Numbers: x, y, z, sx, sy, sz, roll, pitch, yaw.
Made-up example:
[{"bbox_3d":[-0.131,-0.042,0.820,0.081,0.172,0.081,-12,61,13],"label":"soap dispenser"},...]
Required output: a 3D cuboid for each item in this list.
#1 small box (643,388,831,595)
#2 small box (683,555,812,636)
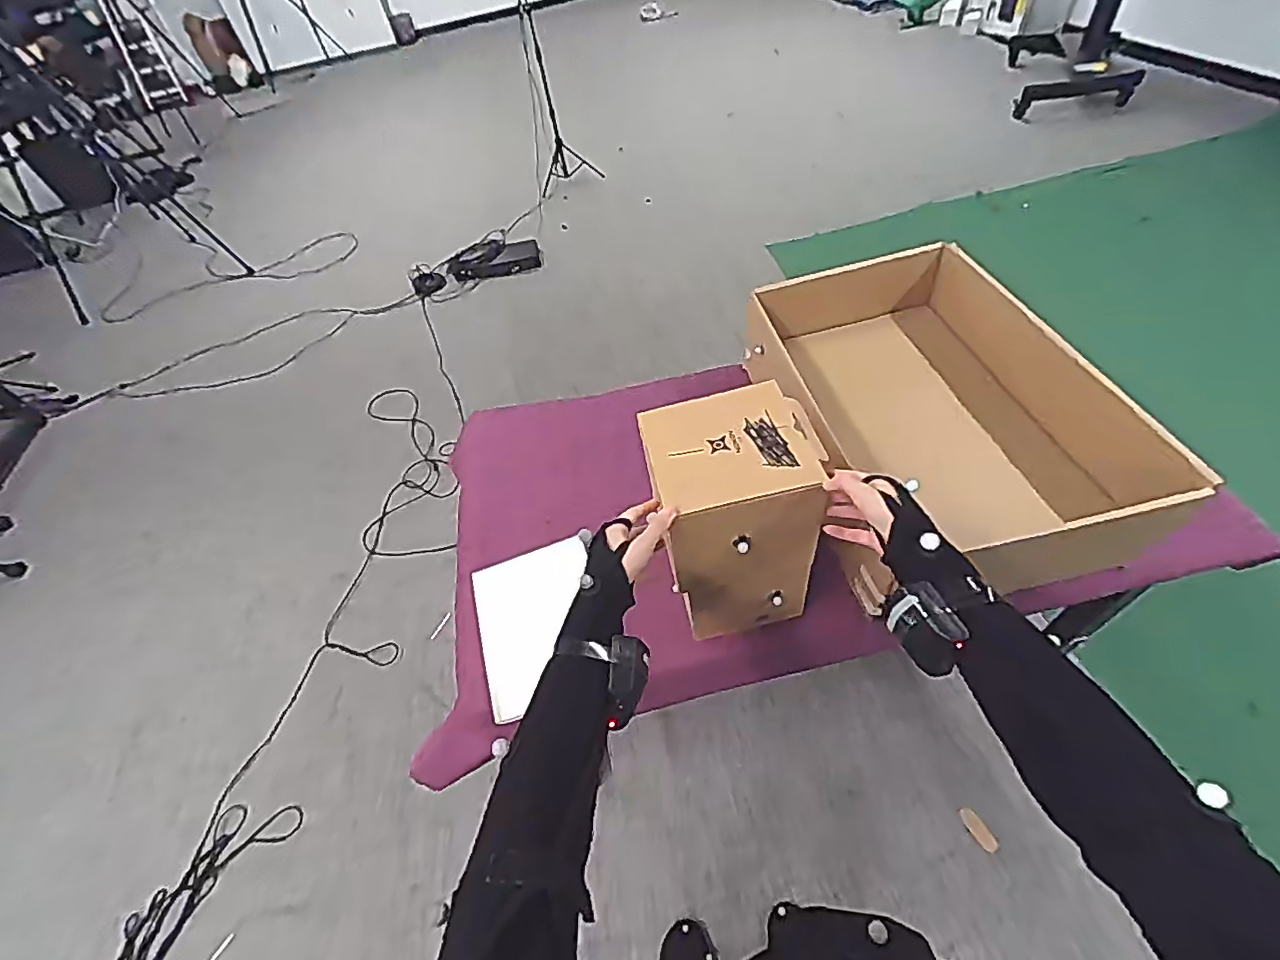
[{"bbox_3d":[0.110,0.018,0.664,0.179,0.176,0.168,-13,49,0],"label":"small box"},{"bbox_3d":[0.138,0.112,0.795,0.168,0.176,0.179,-13,48,0],"label":"small box"}]
